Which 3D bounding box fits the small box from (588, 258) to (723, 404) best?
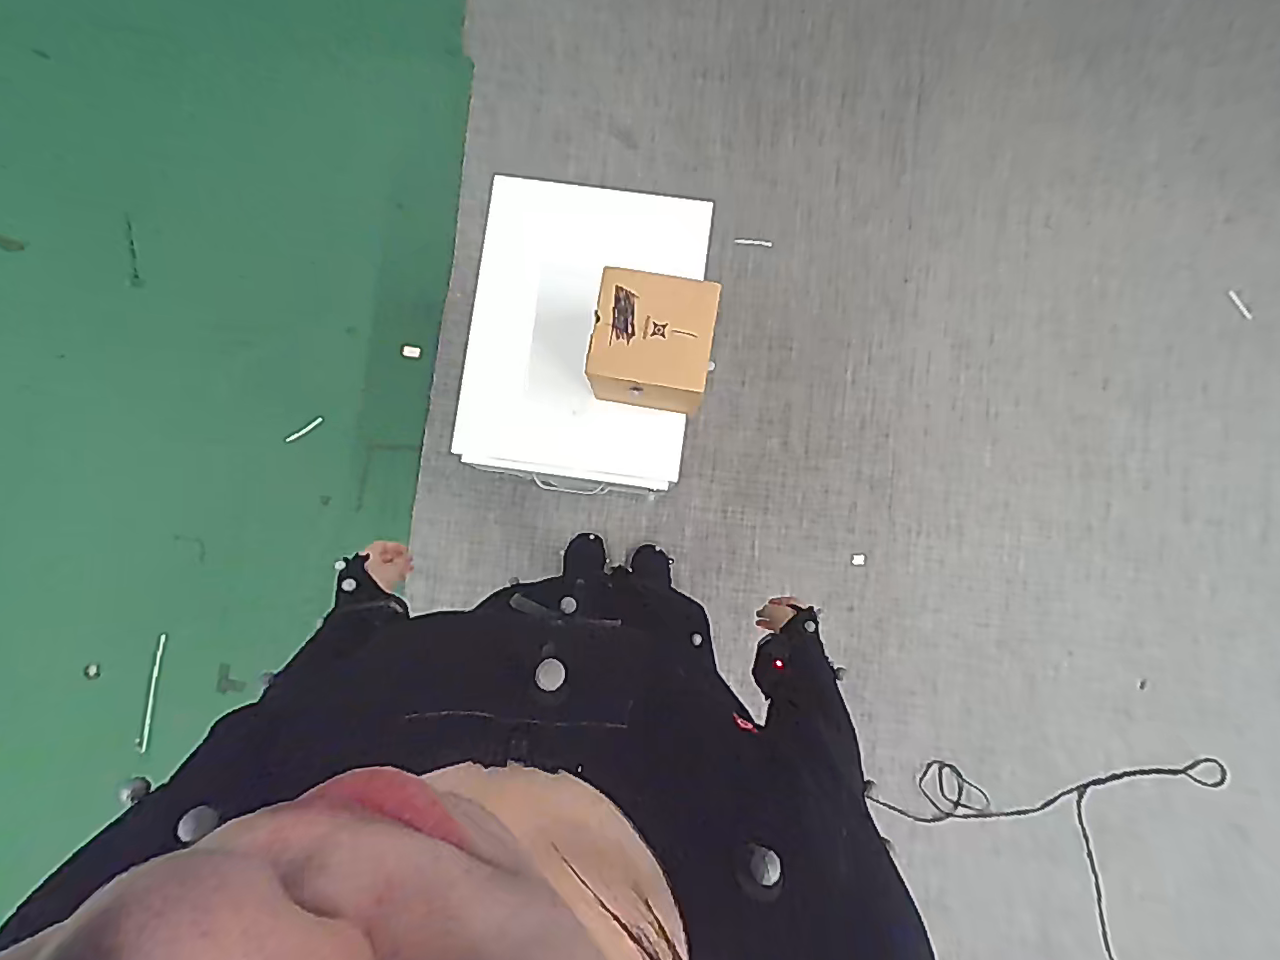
[{"bbox_3d":[0.024,-0.226,0.862,0.179,0.176,0.168,10,87,1],"label":"small box"}]
